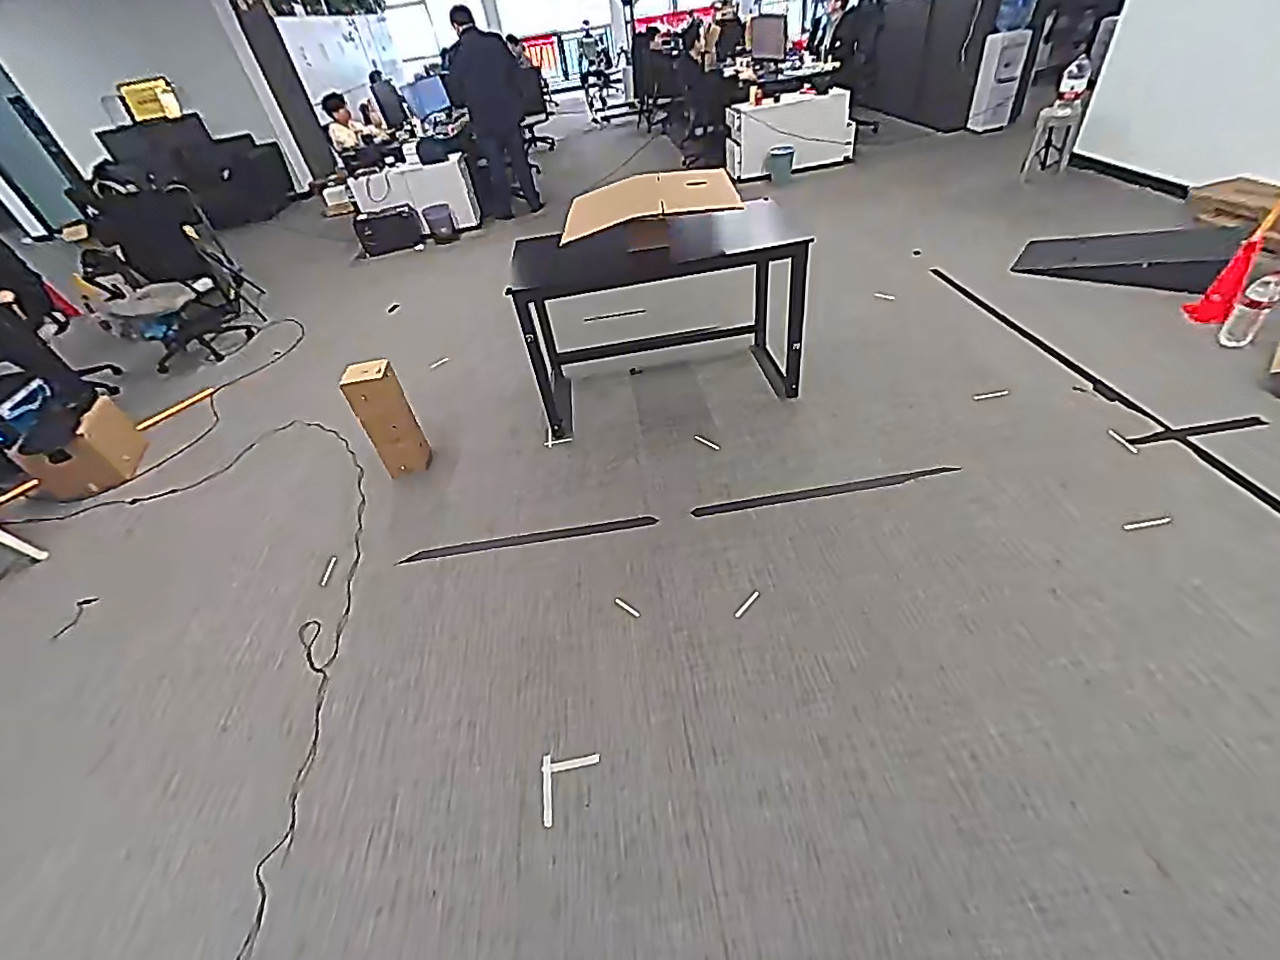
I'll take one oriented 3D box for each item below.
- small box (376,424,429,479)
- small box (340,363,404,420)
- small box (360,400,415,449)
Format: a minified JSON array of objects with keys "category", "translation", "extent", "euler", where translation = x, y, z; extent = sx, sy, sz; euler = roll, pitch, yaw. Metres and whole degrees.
[{"category":"small box","translation":[-1.105,-0.133,2.536],"extent":[0.168,0.176,0.179],"euler":[-12,42,-2]},{"category":"small box","translation":[-1.146,-0.376,2.323],"extent":[0.179,0.176,0.168],"euler":[-12,41,-3]},{"category":"small box","translation":[-1.129,-0.256,2.433],"extent":[0.168,0.176,0.179],"euler":[-13,40,-6]}]
